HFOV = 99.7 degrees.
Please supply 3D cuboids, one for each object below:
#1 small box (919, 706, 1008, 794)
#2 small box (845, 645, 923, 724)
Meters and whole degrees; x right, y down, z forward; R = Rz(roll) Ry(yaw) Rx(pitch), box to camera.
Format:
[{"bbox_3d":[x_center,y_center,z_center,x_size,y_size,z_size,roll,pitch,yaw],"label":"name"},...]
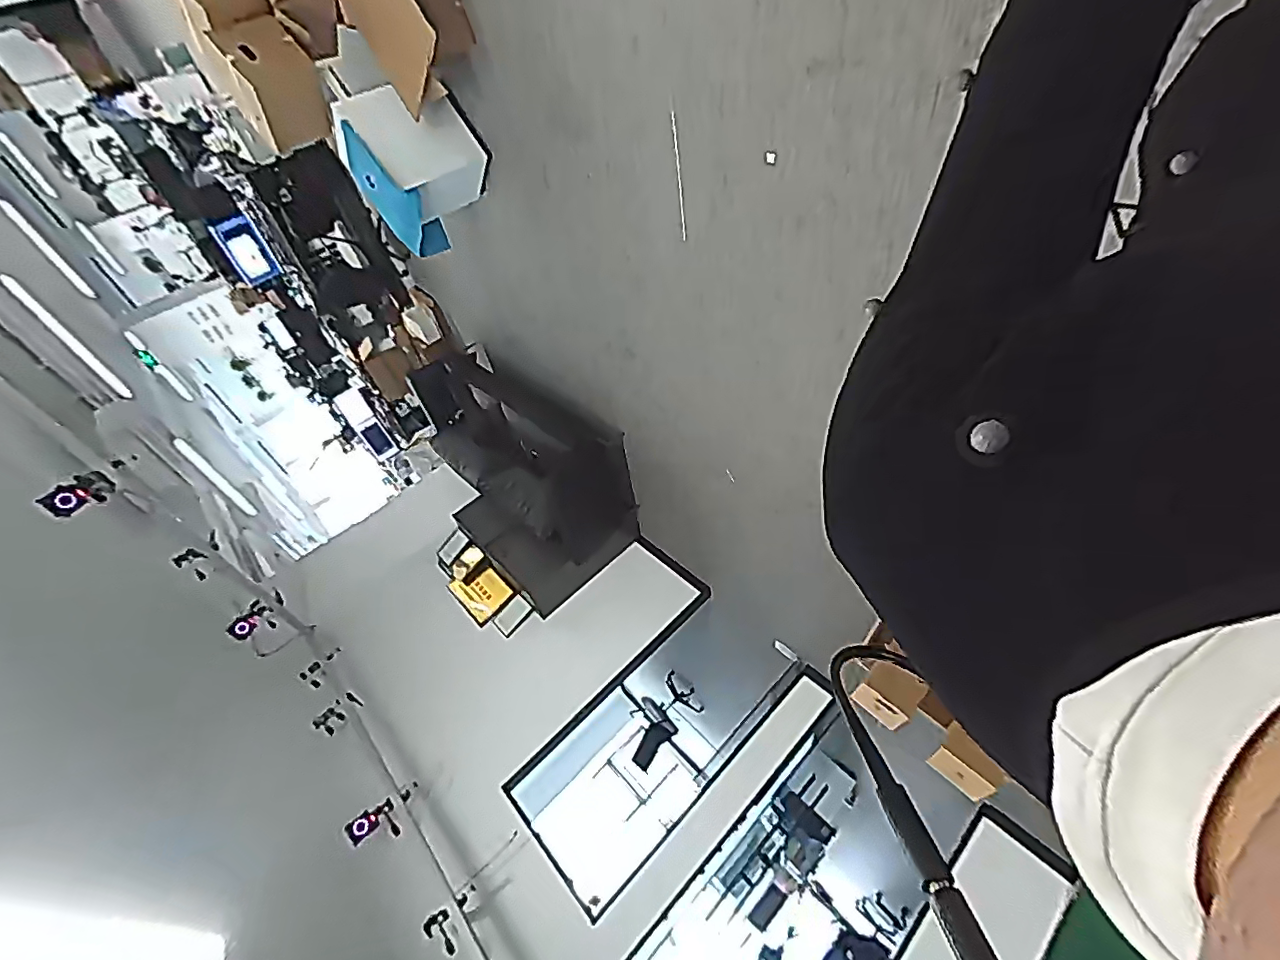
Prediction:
[{"bbox_3d":[1.041,0.861,1.737,0.168,0.176,0.179,37,152,31],"label":"small box"},{"bbox_3d":[0.846,0.704,1.870,0.168,0.176,0.179,38,154,27],"label":"small box"}]
